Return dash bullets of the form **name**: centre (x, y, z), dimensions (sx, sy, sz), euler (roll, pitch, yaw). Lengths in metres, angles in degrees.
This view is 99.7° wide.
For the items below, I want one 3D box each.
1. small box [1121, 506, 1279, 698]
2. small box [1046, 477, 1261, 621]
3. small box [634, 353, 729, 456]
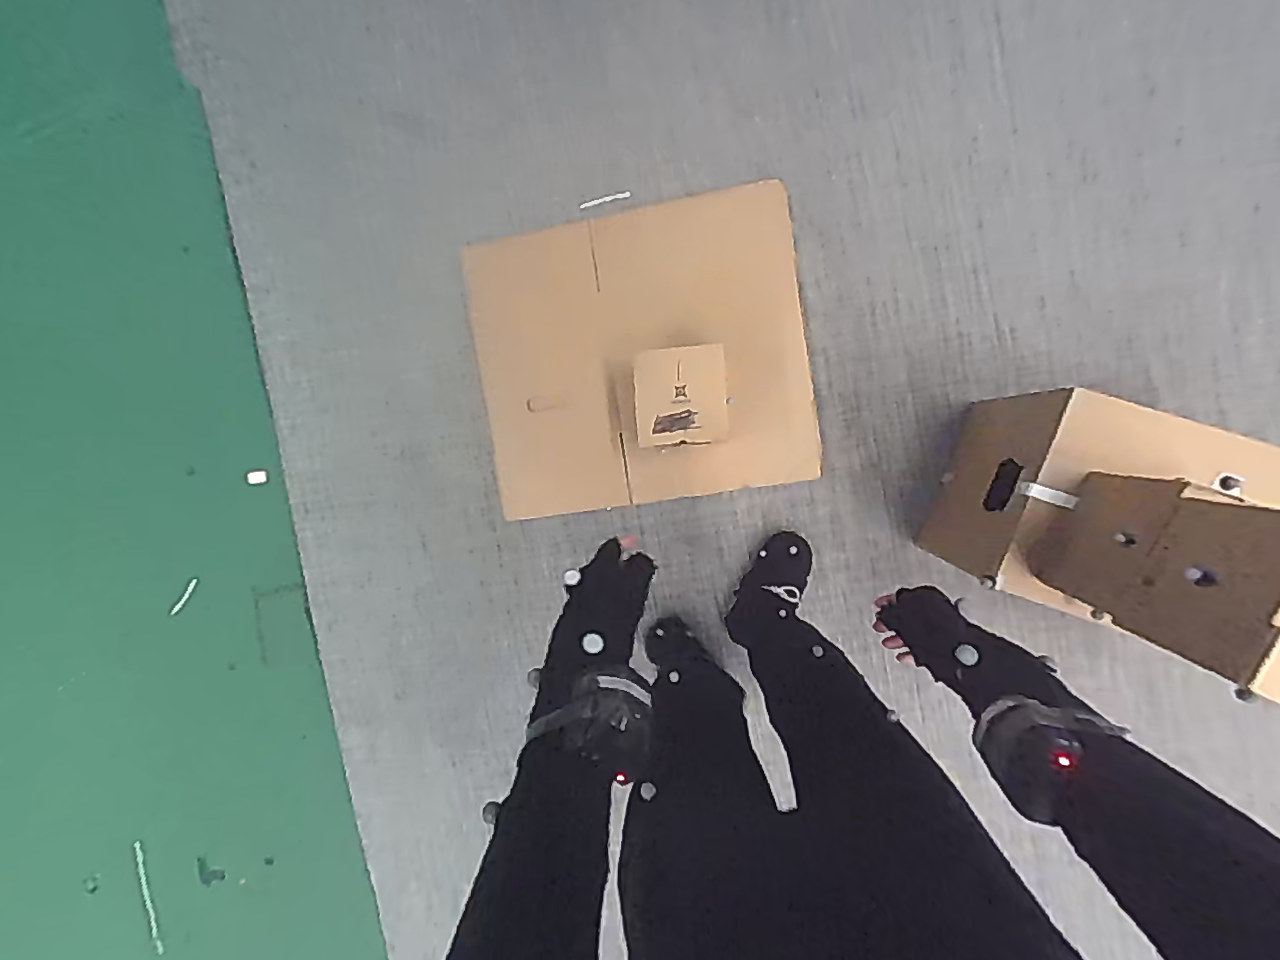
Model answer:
- **small box**: centre (0.640, 0.130, 0.527), dimensions (0.179, 0.176, 0.168), euler (21, 95, 7)
- **small box**: centre (0.669, 0.104, 0.685), dimensions (0.168, 0.176, 0.179), euler (21, 98, 8)
- **small box**: centre (0.087, -0.140, 1.052), dimensions (0.168, 0.176, 0.179), euler (-4, 91, 9)
